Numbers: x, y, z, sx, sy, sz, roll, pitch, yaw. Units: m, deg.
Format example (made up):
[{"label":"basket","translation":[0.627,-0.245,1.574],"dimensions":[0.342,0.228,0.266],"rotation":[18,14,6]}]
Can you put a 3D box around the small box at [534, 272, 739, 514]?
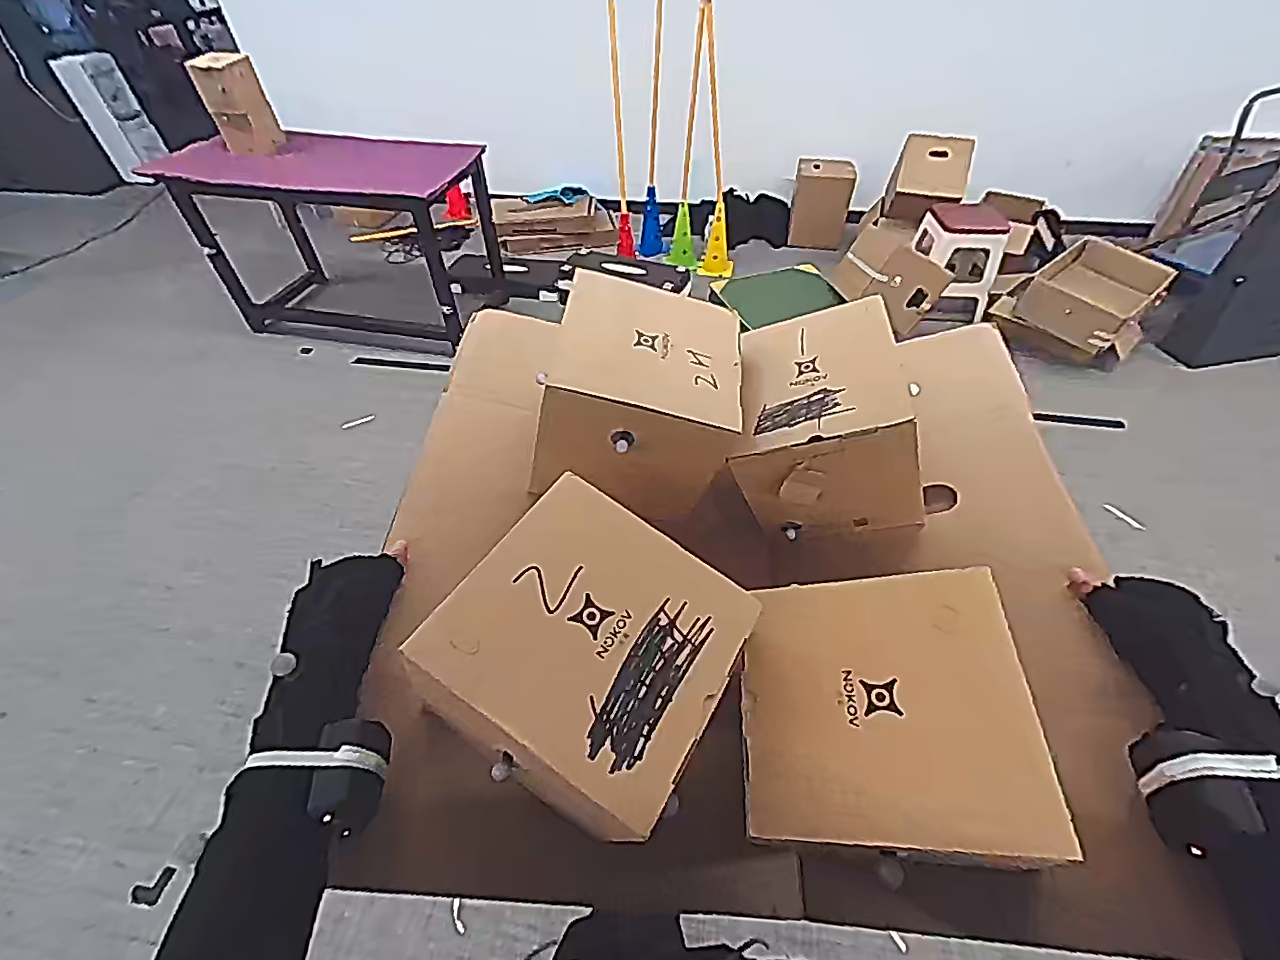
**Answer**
[{"label":"small box","translation":[-0.008,-0.083,0.574],"dimensions":[0.179,0.176,0.168],"rotation":[13,55,-9]}]
